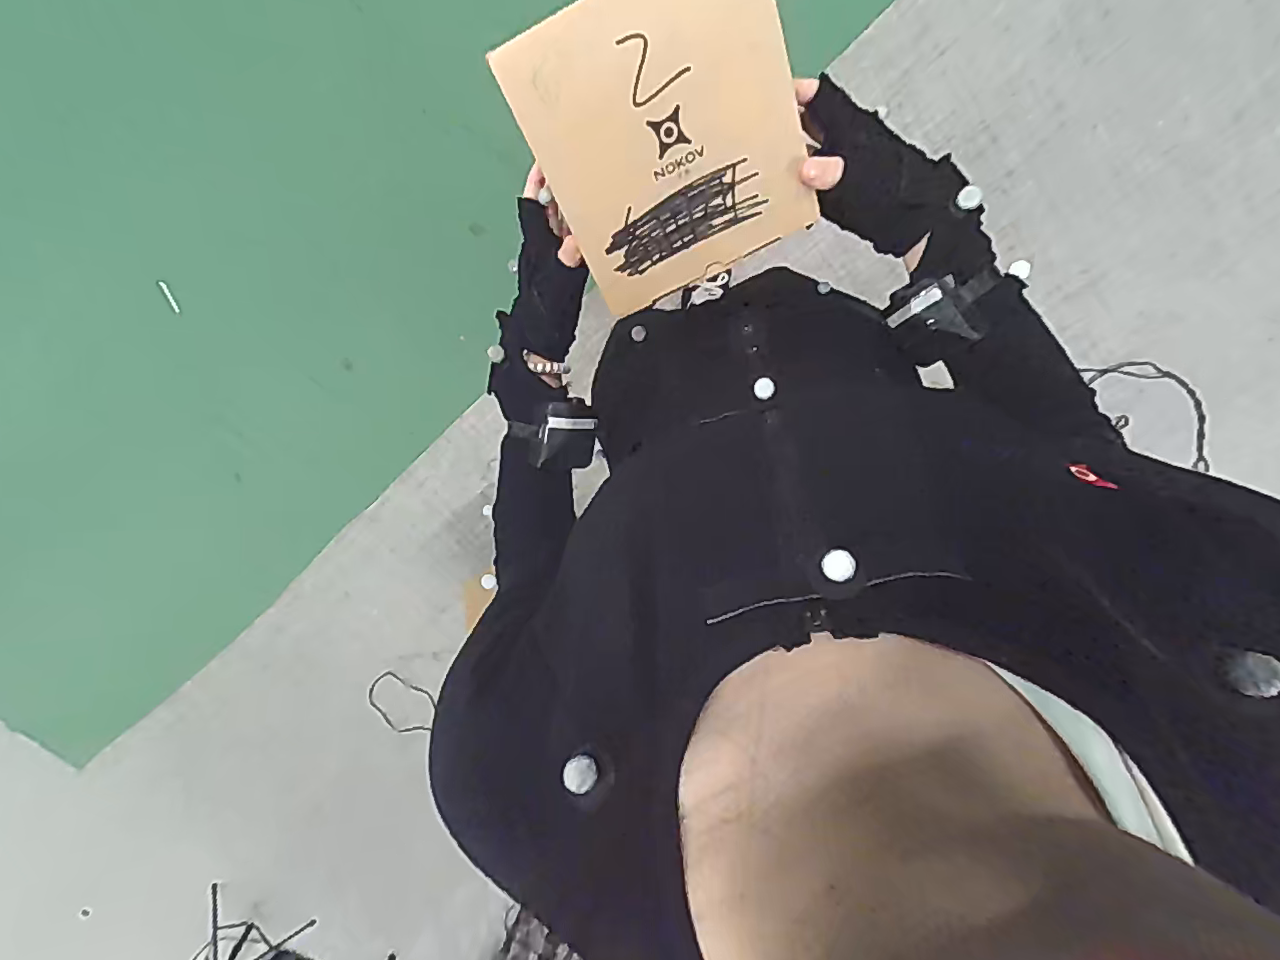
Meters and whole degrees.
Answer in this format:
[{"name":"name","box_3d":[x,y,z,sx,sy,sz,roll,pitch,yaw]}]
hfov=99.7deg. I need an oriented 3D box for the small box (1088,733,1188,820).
[{"name":"small box","box_3d":[1.719,1.028,1.884,0.179,0.176,0.168,-41,107,15]}]
